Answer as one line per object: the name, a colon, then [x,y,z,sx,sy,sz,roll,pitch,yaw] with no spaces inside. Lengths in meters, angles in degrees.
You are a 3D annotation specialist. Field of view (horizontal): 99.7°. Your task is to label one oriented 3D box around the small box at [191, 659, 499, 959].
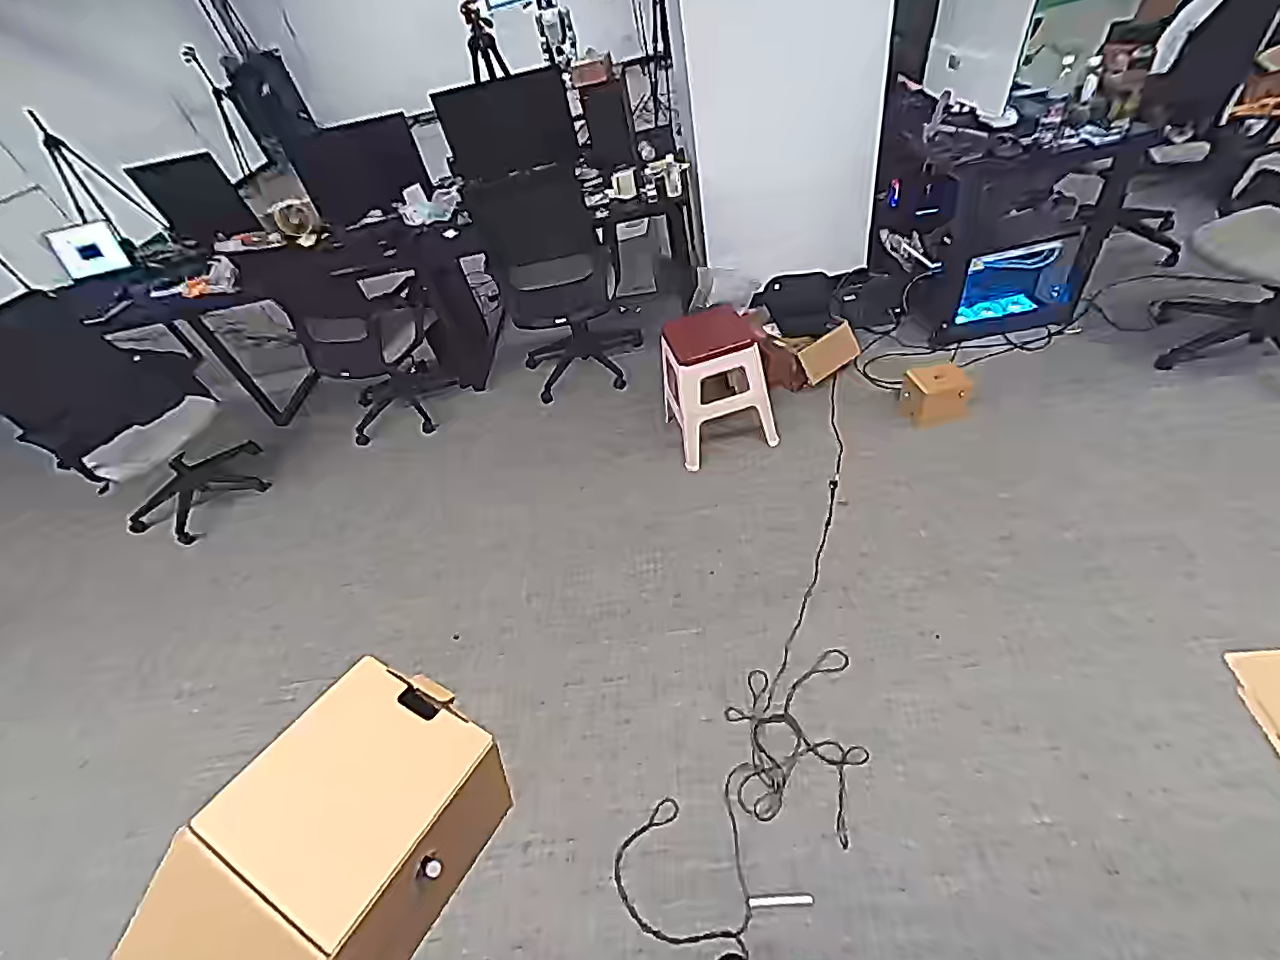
small box: [-0.251,0.315,0.510,0.168,0.176,0.179,23,43,20]
